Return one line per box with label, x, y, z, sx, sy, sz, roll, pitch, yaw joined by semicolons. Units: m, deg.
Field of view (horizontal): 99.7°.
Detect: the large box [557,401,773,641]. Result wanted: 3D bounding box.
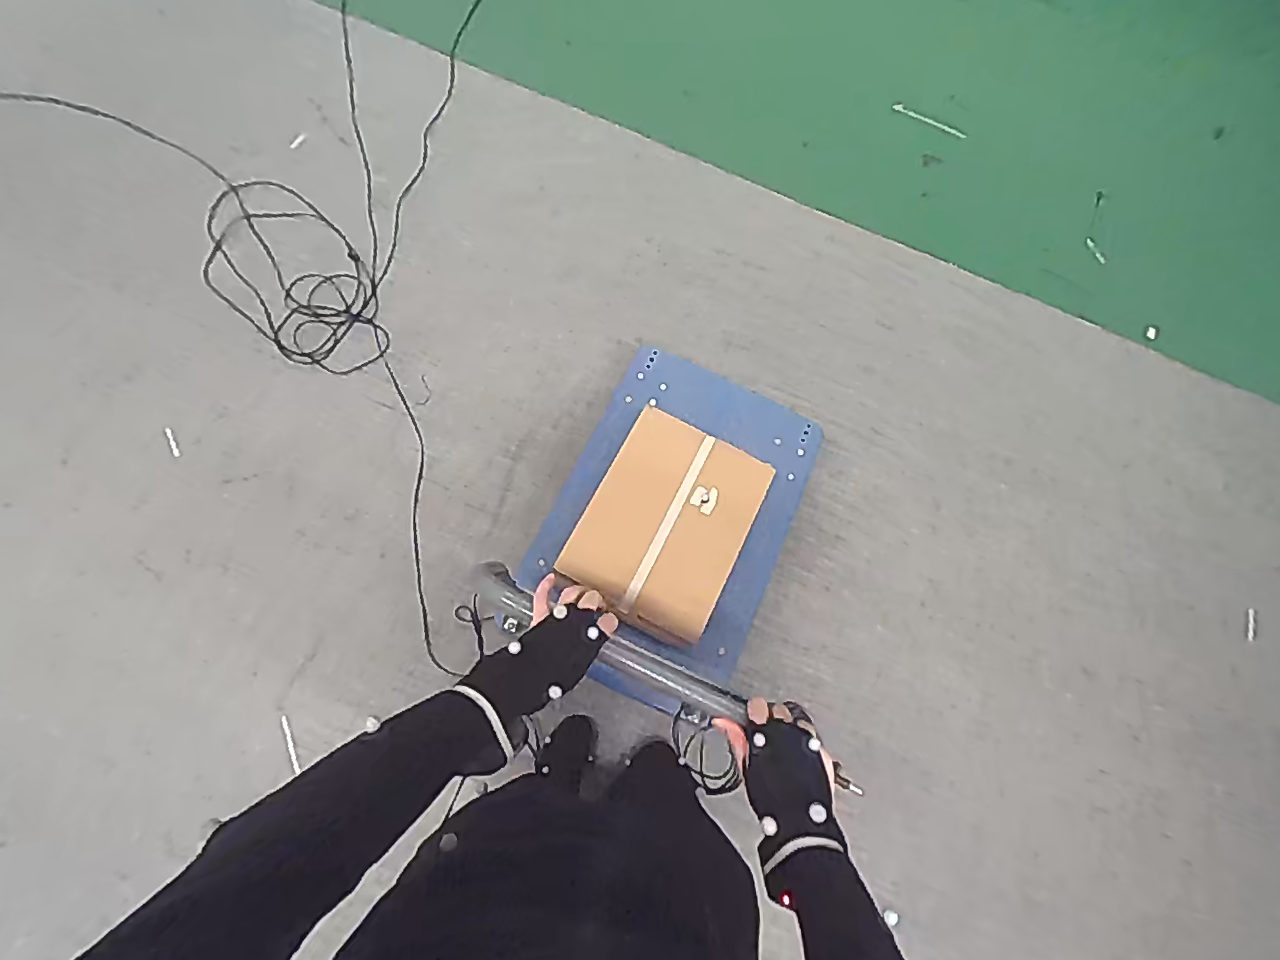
large box;0.045;0.110;1.221;0.320;0.320;0.408;28;71;2
